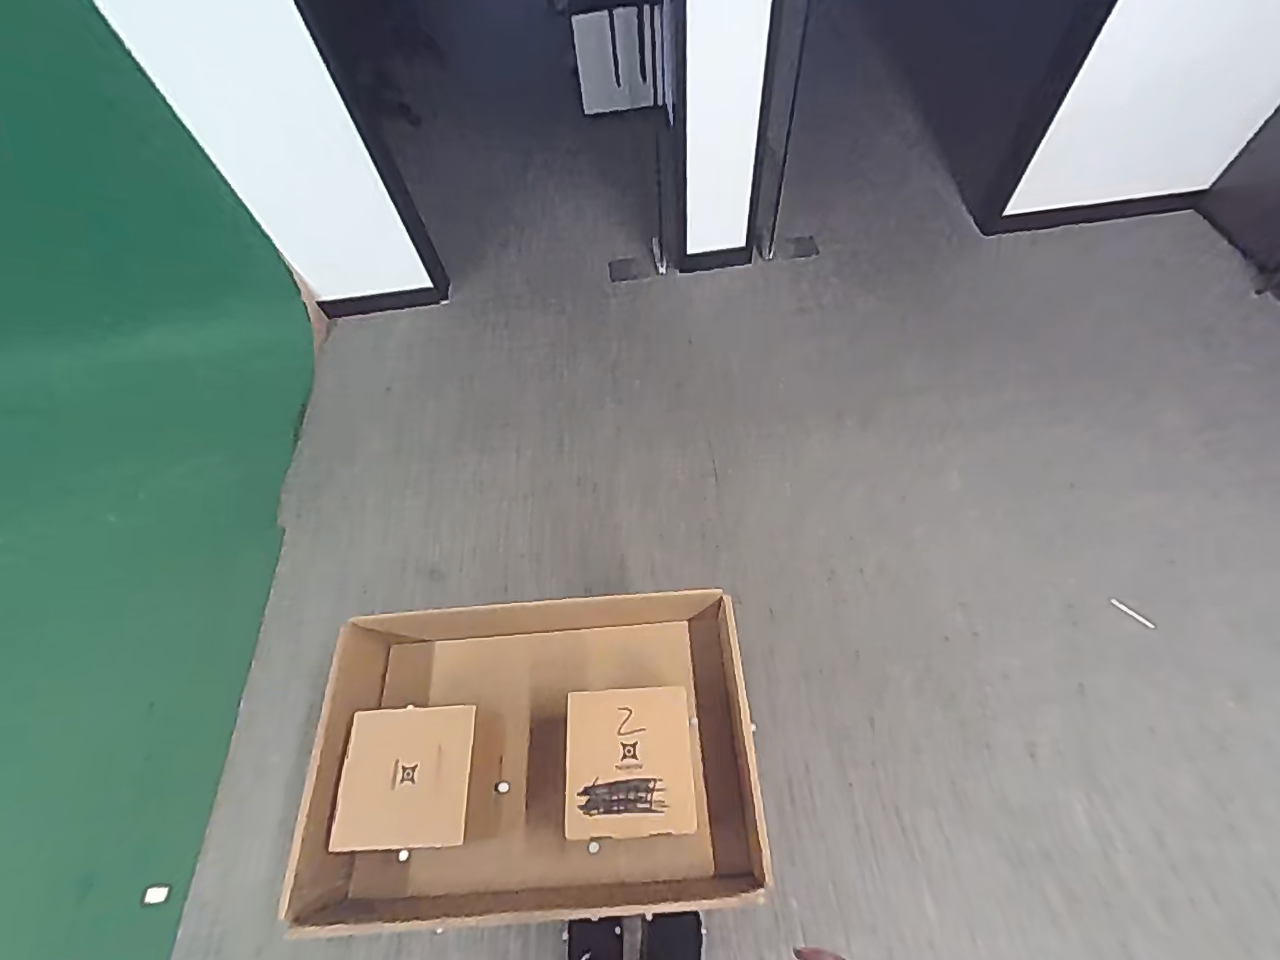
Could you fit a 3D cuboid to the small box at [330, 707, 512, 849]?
[{"bbox_3d":[-0.299,0.430,0.782,0.179,0.176,0.168,-3,60,2],"label":"small box"}]
